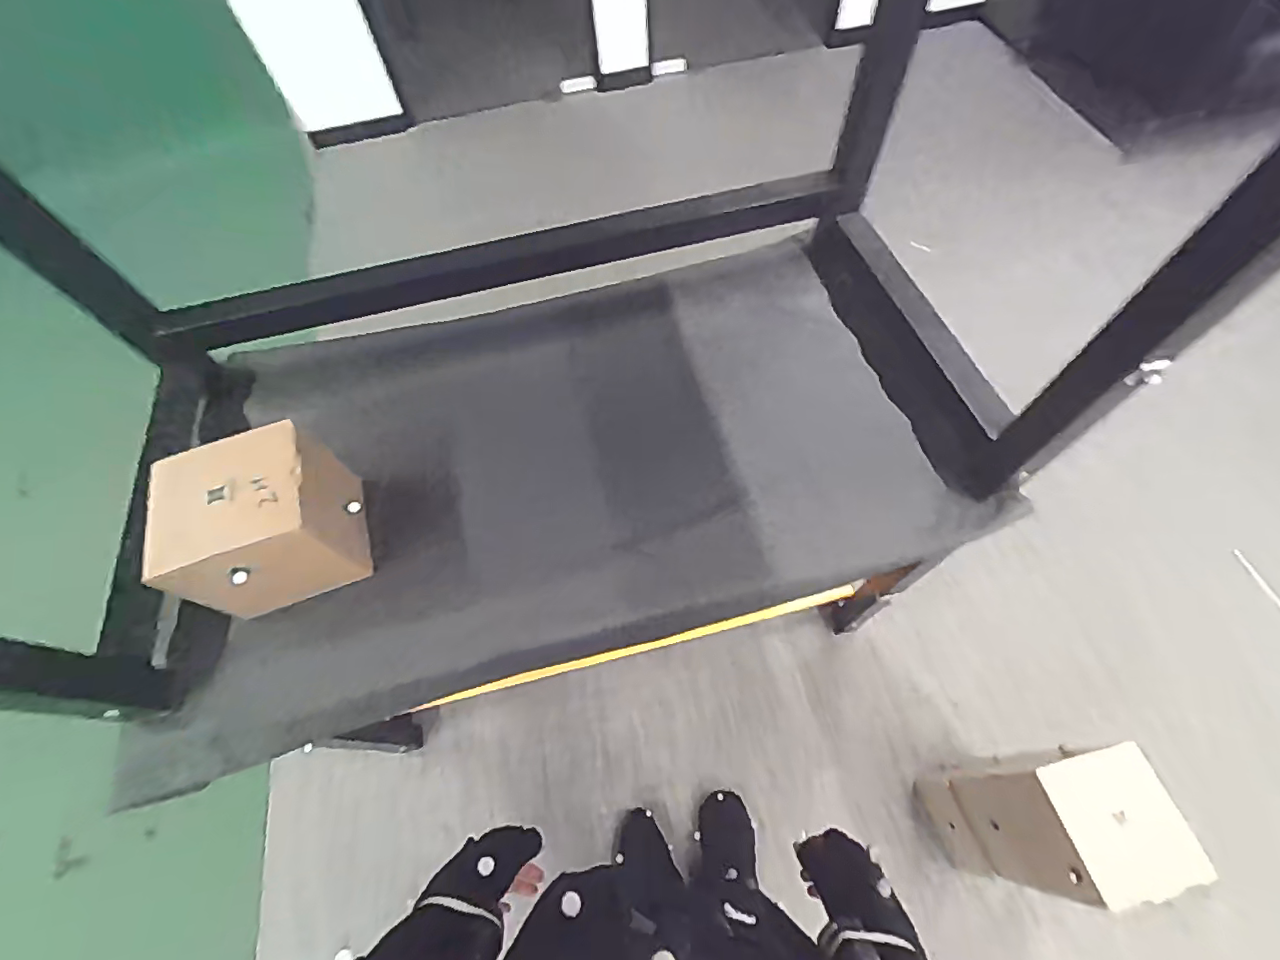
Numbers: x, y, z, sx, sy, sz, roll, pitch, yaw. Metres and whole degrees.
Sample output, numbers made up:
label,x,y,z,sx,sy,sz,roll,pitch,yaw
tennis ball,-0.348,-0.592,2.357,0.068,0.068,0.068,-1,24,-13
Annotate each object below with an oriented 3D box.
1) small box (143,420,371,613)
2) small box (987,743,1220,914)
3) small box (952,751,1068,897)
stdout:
label,x,y,z,sx,sy,sz,roll,pitch,yaw
small box,-0.485,0.056,0.708,0.179,0.176,0.168,-19,62,-7
small box,0.682,0.522,0.827,0.168,0.176,0.179,-14,61,-3
small box,0.708,0.603,0.967,0.168,0.176,0.179,-16,60,-4
